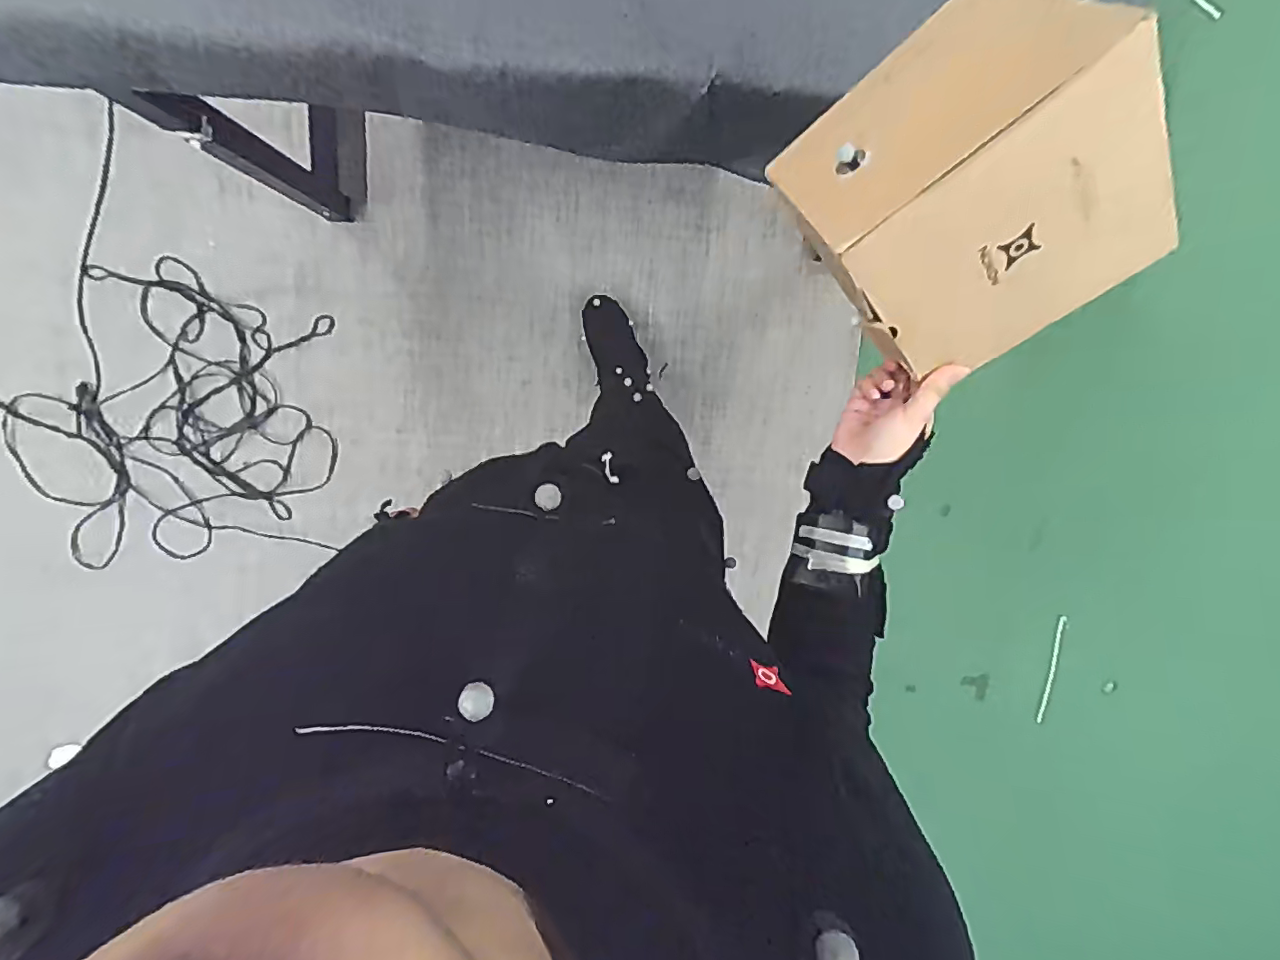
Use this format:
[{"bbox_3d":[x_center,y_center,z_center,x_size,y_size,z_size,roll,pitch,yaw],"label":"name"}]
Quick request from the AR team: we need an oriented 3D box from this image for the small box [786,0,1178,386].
[{"bbox_3d":[0.229,-0.212,0.401,0.179,0.176,0.168,-36,132,25],"label":"small box"}]
